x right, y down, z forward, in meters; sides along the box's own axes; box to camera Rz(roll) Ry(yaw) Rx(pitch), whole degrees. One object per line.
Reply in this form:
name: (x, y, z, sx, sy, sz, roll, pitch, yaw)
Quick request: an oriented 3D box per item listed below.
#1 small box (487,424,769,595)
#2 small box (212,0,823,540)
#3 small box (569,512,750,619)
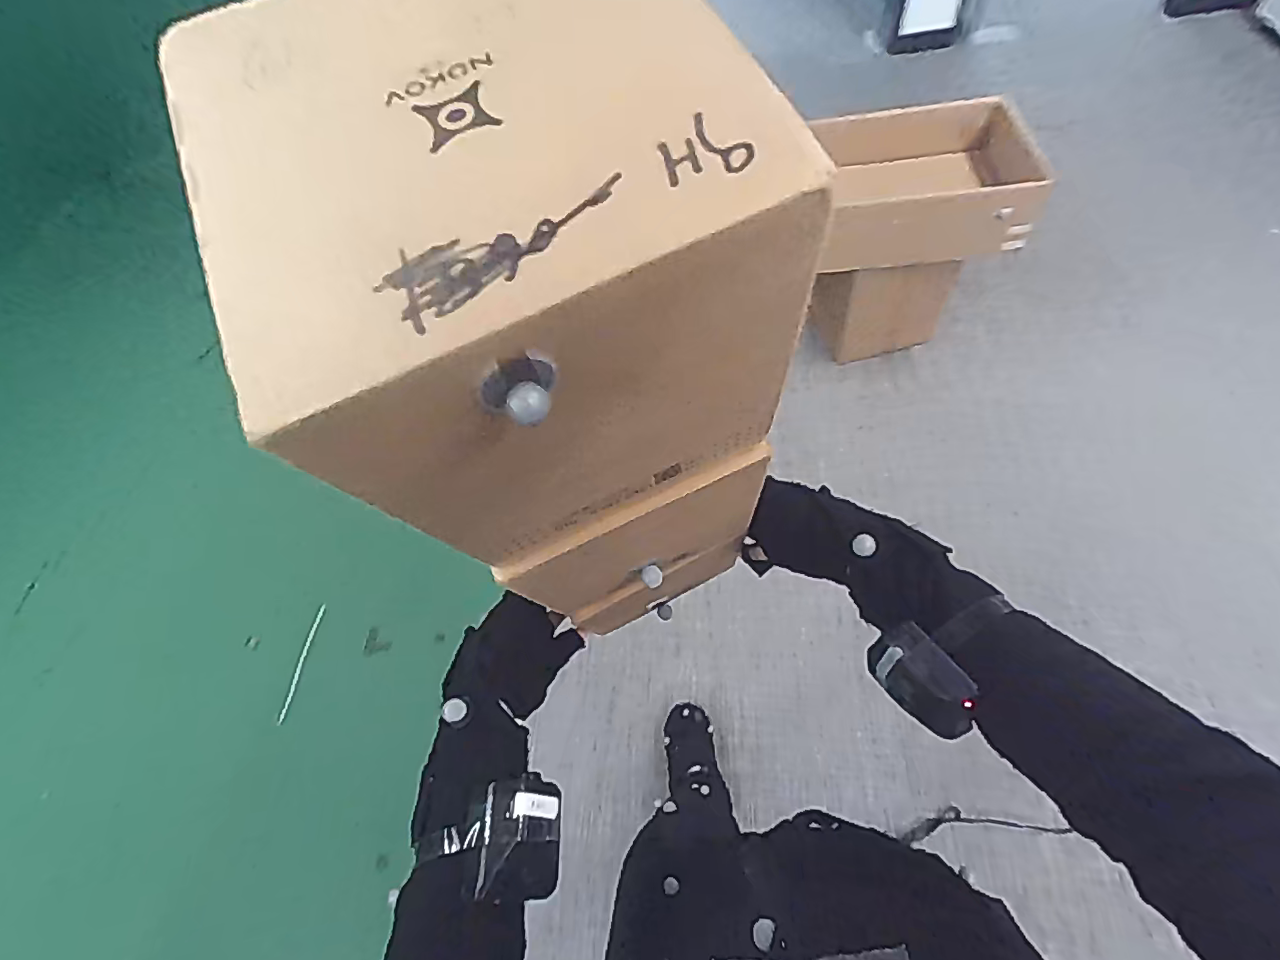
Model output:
small box: (-0.026, -0.033, 0.401, 0.168, 0.176, 0.179, -24, 70, -2)
small box: (-0.046, -0.095, 0.251, 0.168, 0.176, 0.179, -24, 69, -2)
small box: (-0.009, 0.026, 0.554, 0.168, 0.176, 0.179, -28, 71, -3)
